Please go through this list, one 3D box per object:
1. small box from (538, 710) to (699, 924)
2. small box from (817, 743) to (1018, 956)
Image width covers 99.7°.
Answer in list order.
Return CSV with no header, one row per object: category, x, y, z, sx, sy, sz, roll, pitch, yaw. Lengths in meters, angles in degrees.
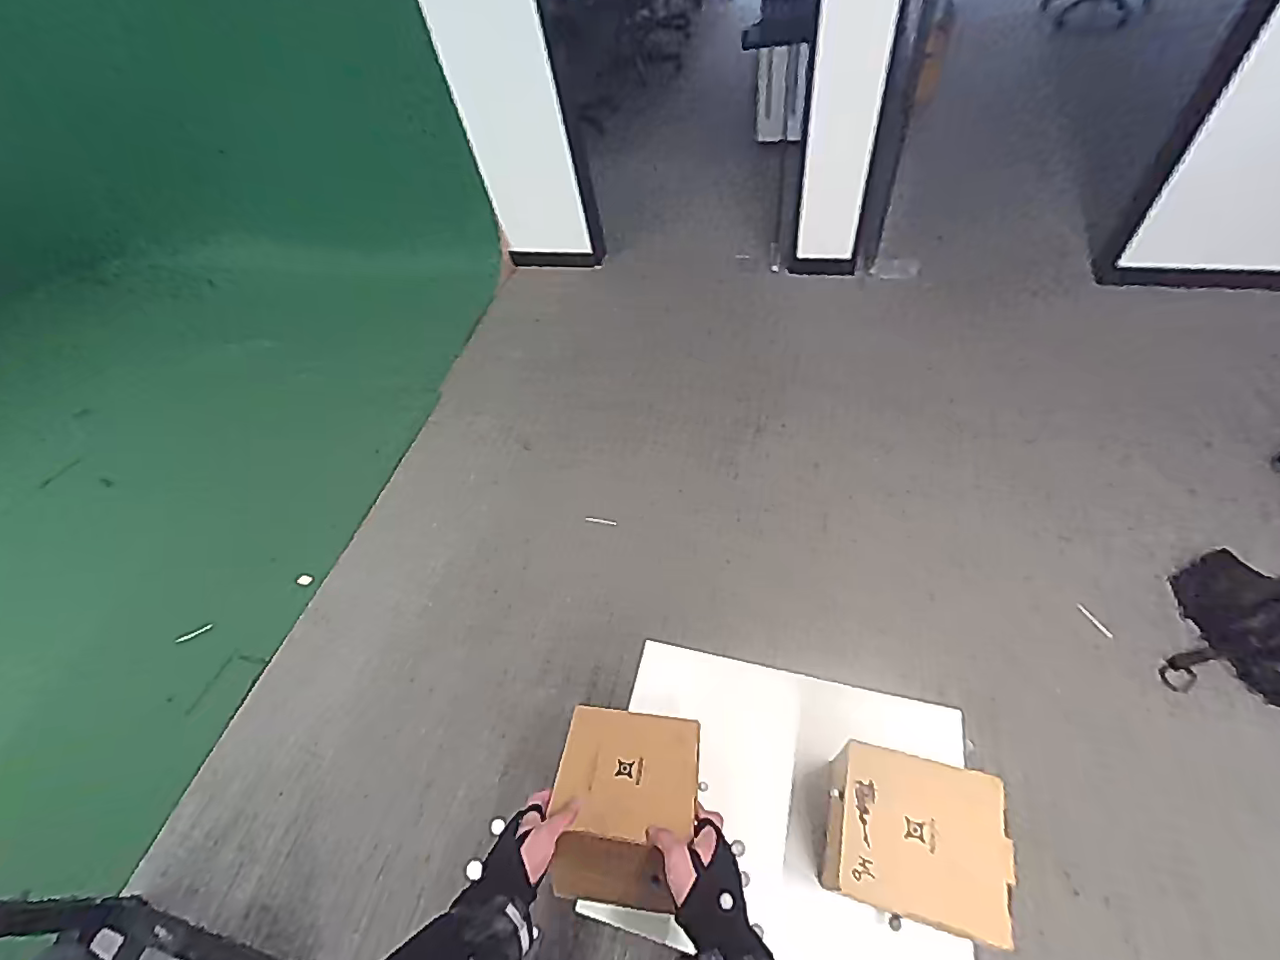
small box,-0.019,0.426,0.689,0.179,0.176,0.168,4,28,4
small box,0.335,0.456,0.681,0.179,0.176,0.168,11,55,14
